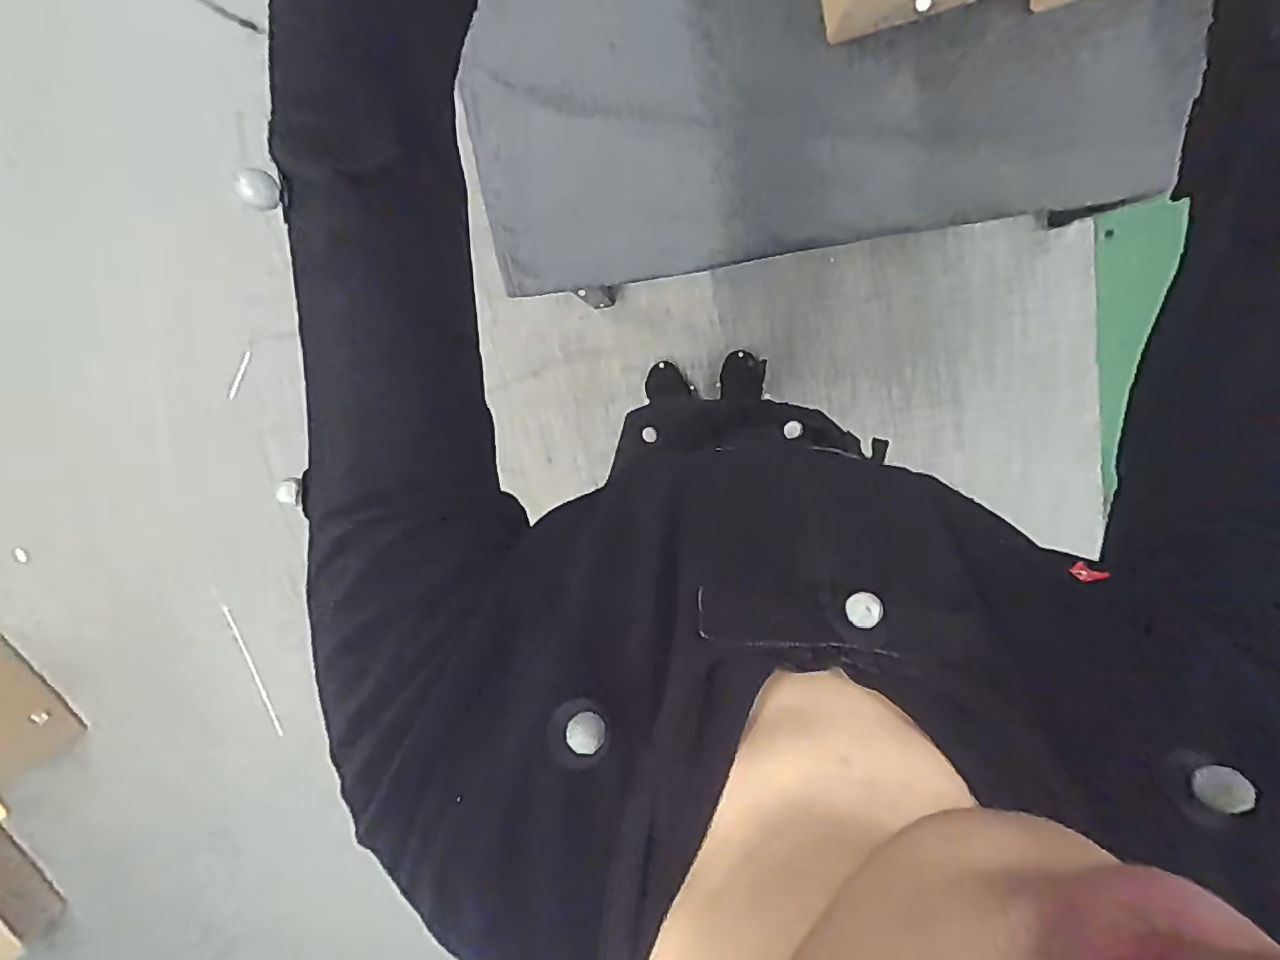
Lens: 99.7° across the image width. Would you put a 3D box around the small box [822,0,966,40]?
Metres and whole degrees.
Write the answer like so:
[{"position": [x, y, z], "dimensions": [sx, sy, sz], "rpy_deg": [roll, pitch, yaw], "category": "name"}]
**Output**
[{"position": [0.267, -0.577, 0.509], "dimensions": [0.168, 0.176, 0.179], "rpy_deg": [-13, 101, 6], "category": "small box"}]
